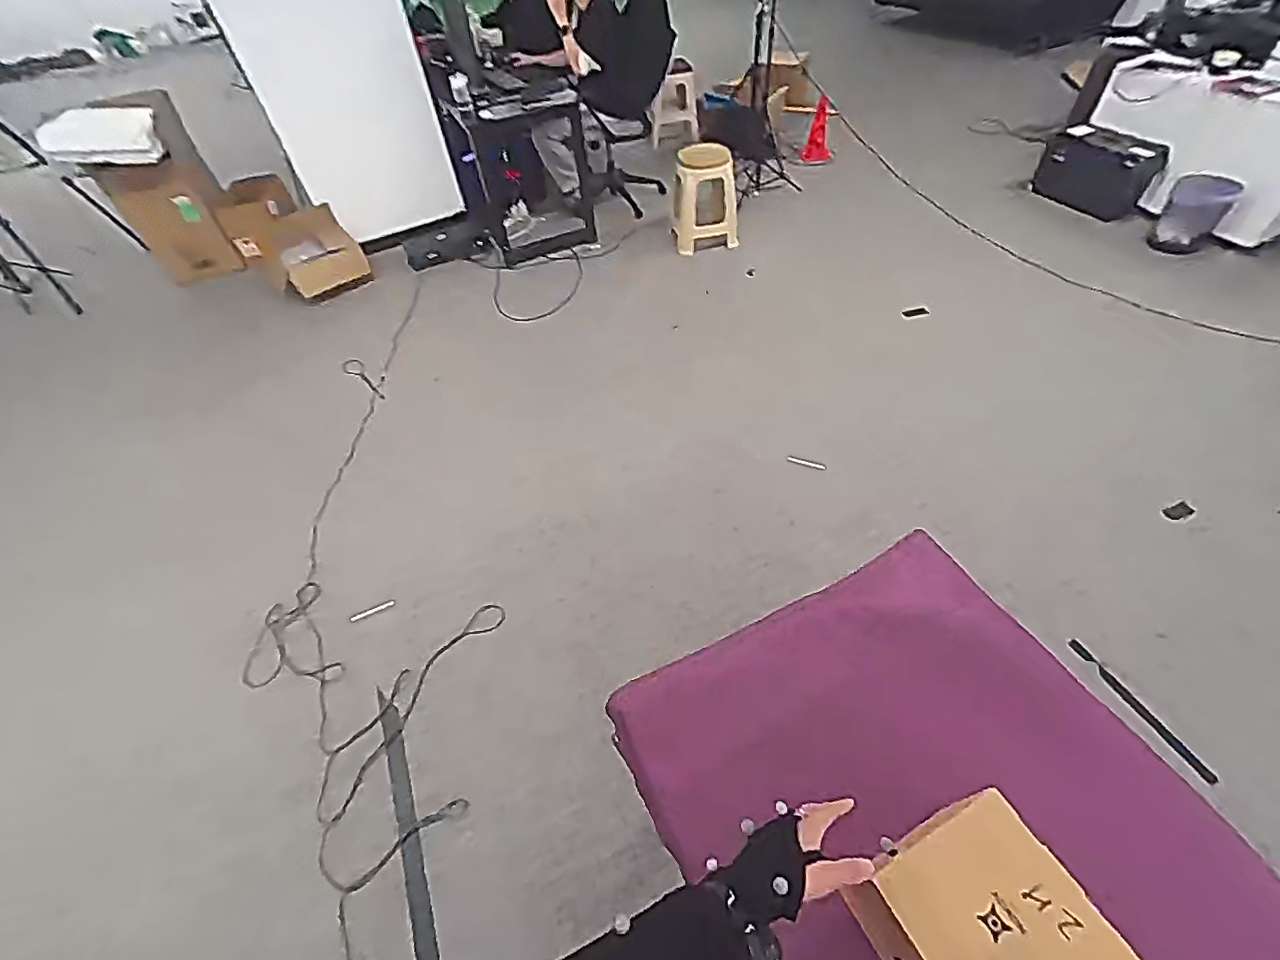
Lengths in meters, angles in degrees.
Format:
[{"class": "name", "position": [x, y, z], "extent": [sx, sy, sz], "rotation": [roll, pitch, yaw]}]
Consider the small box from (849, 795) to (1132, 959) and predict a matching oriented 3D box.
[{"class": "small box", "position": [0.347, 0.475, 0.574], "extent": [0.179, 0.176, 0.168], "rotation": [-24, 53, -14]}]

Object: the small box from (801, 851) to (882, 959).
[{"class": "small box", "position": [0.439, 0.862, 1.048], "extent": [0.168, 0.176, 0.179], "rotation": [-24, 55, -15]}]
